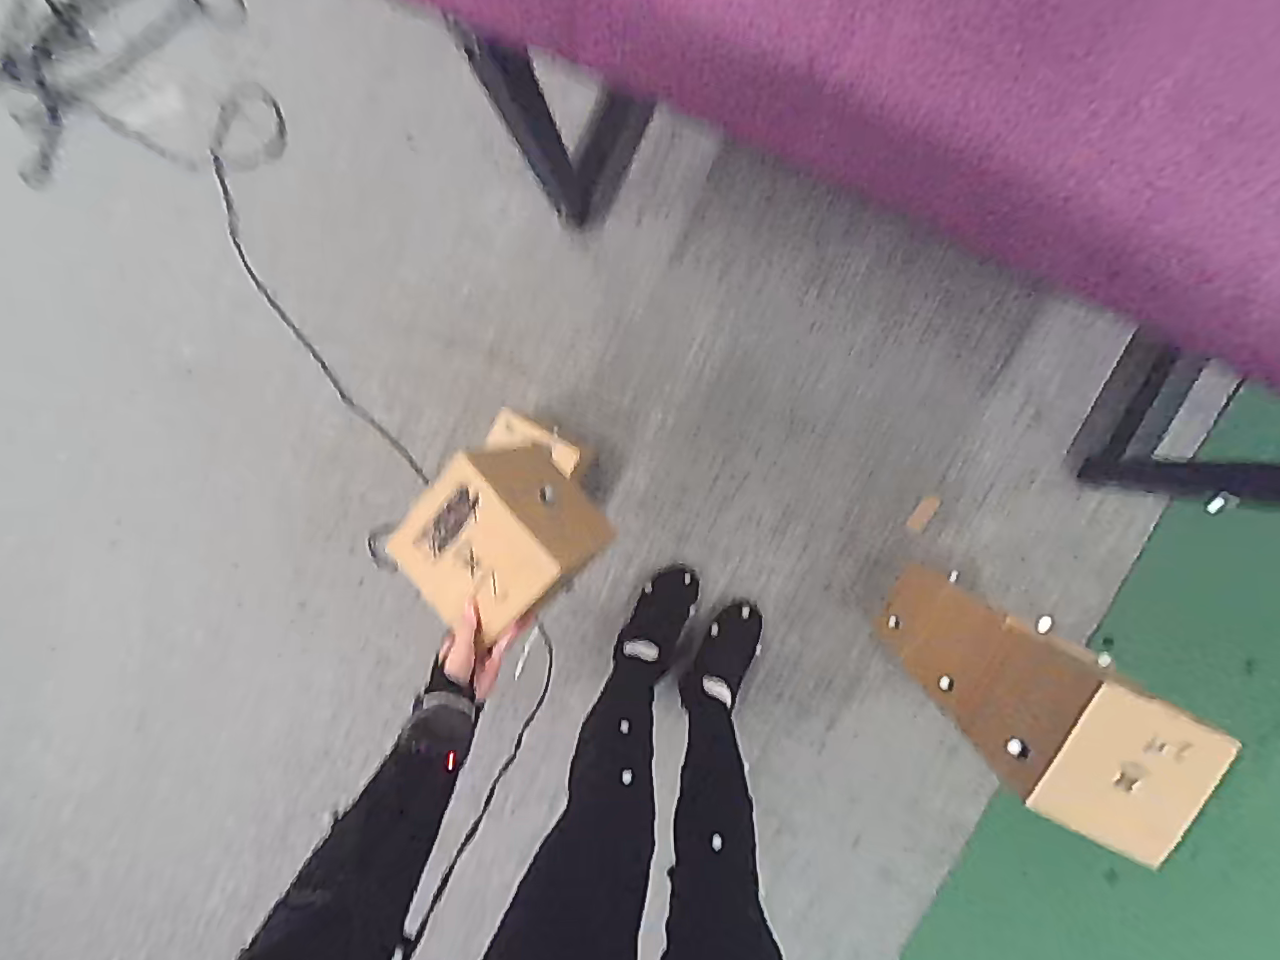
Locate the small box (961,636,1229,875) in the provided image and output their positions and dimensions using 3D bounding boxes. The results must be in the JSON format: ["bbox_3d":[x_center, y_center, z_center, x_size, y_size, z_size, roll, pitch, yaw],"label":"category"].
[{"bbox_3d":[0.553,0.335,0.691,0.168,0.176,0.179,26,96,2],"label":"small box"}]

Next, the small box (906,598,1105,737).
[{"bbox_3d":[0.557,0.311,0.854,0.168,0.176,0.179,25,96,2],"label":"small box"}]

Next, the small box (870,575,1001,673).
[{"bbox_3d":[0.567,0.295,1.016,0.179,0.176,0.168,28,95,2],"label":"small box"}]

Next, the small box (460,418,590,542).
[{"bbox_3d":[-0.213,-0.004,1.061,0.168,0.176,0.179,30,96,2],"label":"small box"}]
